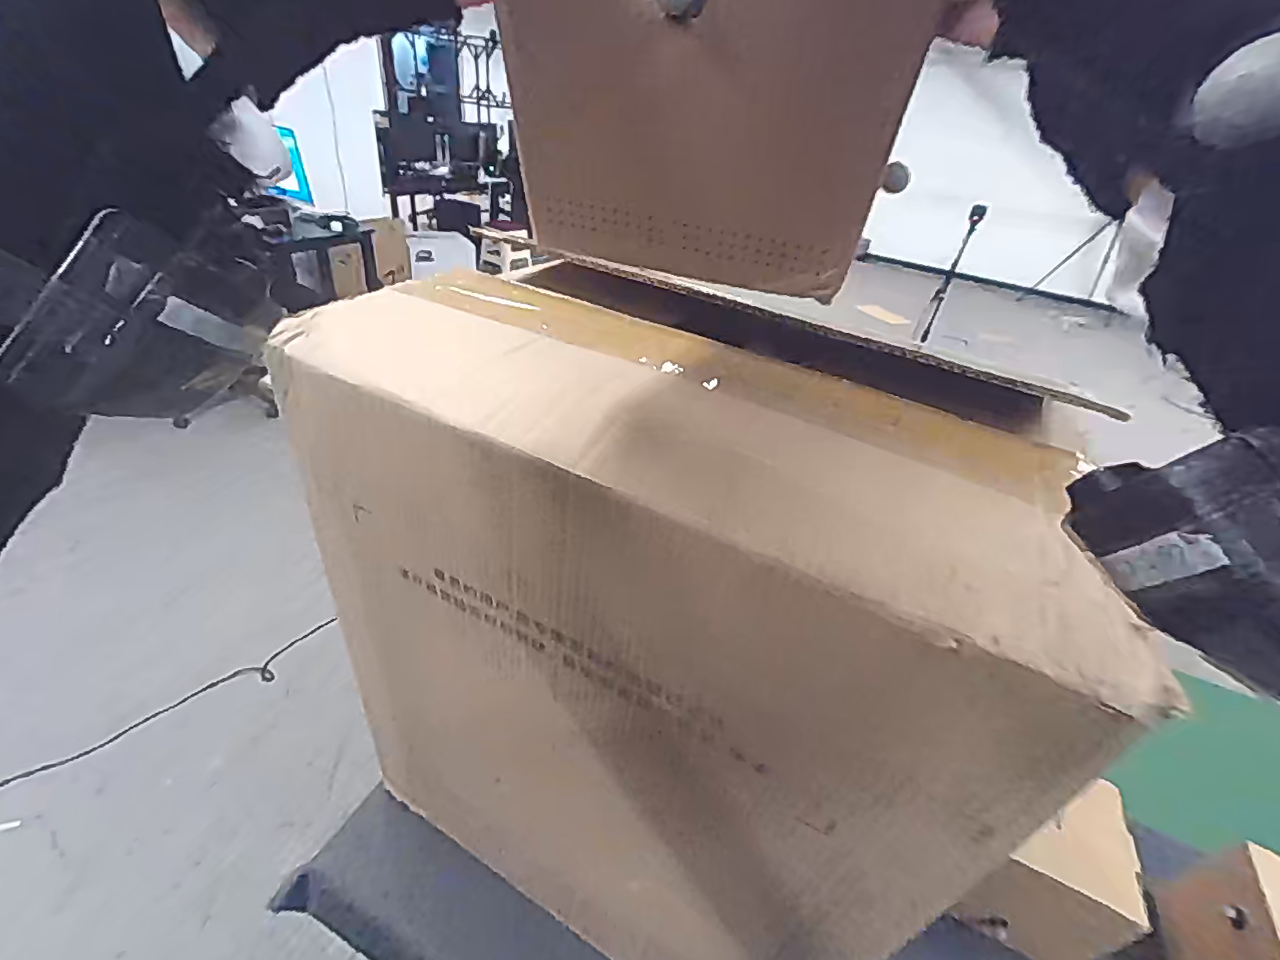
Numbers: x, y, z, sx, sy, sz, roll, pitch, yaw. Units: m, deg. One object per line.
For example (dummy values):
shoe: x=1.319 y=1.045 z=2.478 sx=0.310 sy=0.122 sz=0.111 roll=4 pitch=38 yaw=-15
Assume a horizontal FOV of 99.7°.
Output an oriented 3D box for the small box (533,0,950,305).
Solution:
small box: x=0.053 y=-0.219 z=0.286 sx=0.179 sy=0.176 sz=0.168 roll=16 pitch=59 yaw=10

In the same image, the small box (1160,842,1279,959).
small box: x=0.737 y=0.564 z=0.600 sx=0.168 sy=0.176 sz=0.179 roll=23 pitch=37 yaw=21
